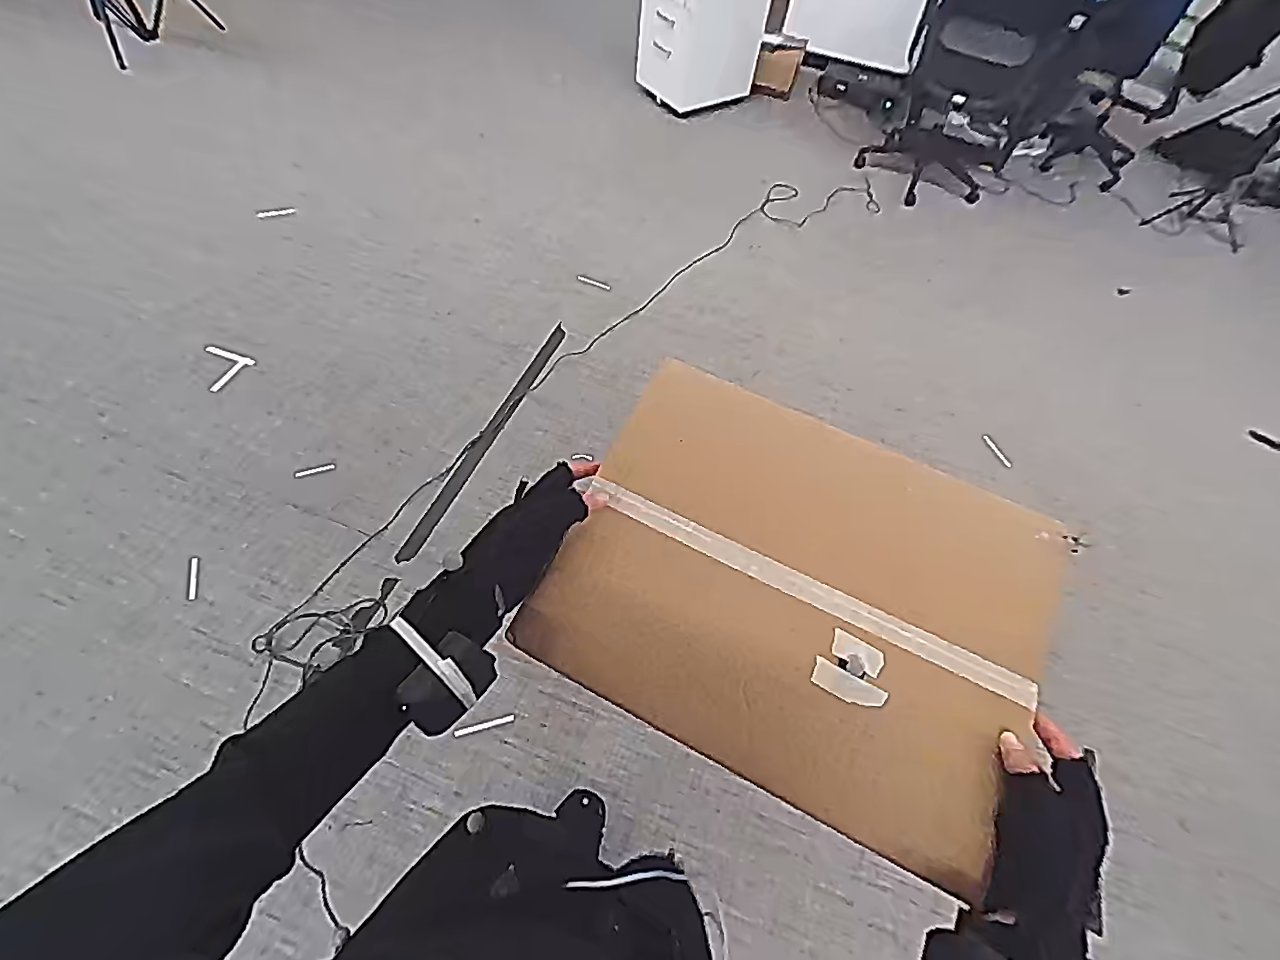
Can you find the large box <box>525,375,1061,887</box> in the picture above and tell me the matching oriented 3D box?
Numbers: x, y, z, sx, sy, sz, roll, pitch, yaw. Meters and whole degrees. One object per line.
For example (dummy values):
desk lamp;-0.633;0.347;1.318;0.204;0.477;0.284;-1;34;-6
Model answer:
large box;0.143;0.149;0.622;0.408;0.320;0.320;26;74;11
